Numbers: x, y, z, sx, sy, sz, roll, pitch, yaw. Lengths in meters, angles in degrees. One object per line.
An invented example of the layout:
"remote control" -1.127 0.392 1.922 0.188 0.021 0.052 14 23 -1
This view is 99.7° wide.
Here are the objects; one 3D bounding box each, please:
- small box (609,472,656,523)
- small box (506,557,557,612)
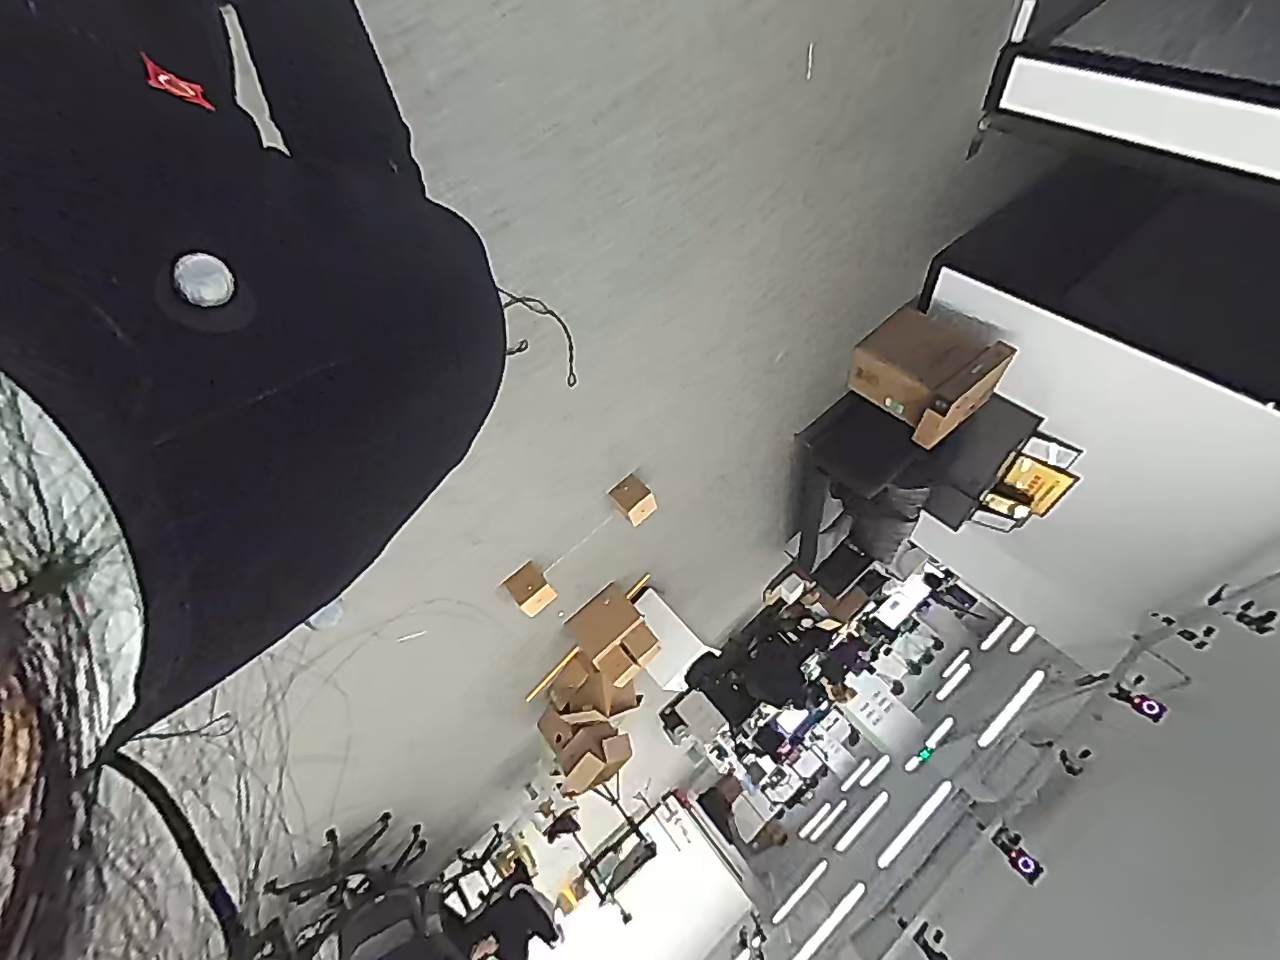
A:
"small box" -0.037 0.088 2.844 0.168 0.176 0.179 -40 150 -12
"small box" -0.552 0.523 2.716 0.179 0.176 0.168 -40 149 -12
